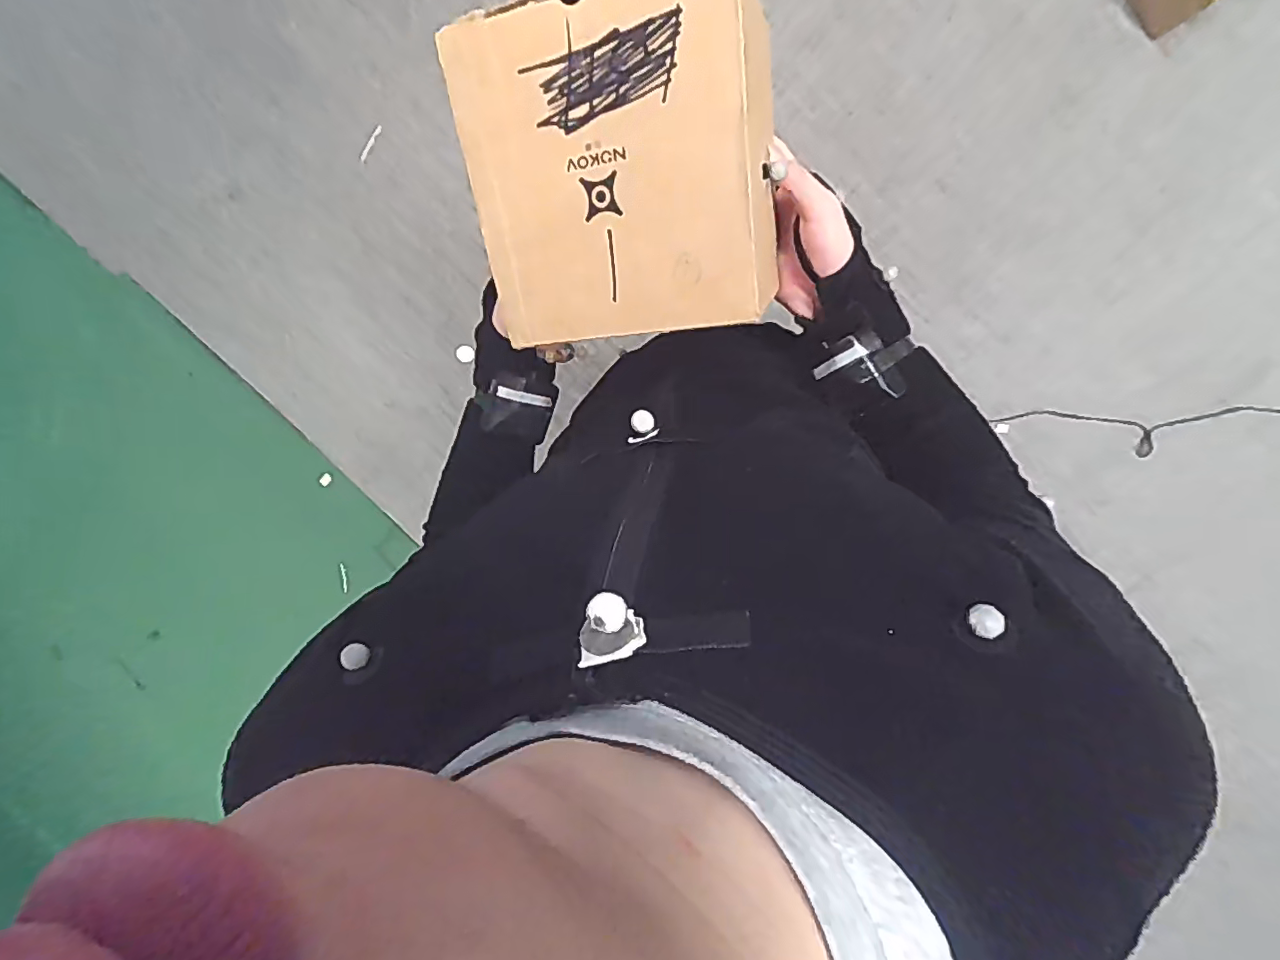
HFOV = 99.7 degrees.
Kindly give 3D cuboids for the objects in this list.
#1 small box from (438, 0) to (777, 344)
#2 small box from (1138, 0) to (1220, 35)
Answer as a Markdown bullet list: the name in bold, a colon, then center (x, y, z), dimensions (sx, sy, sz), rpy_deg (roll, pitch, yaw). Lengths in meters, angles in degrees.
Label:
- **small box**: center (0.001, -0.202, 0.370), dimensions (0.168, 0.176, 0.179), rpy_deg (0, 115, 20)
- **small box**: center (1.033, -0.968, 0.974), dimensions (0.168, 0.176, 0.179), rpy_deg (-35, 98, 22)
